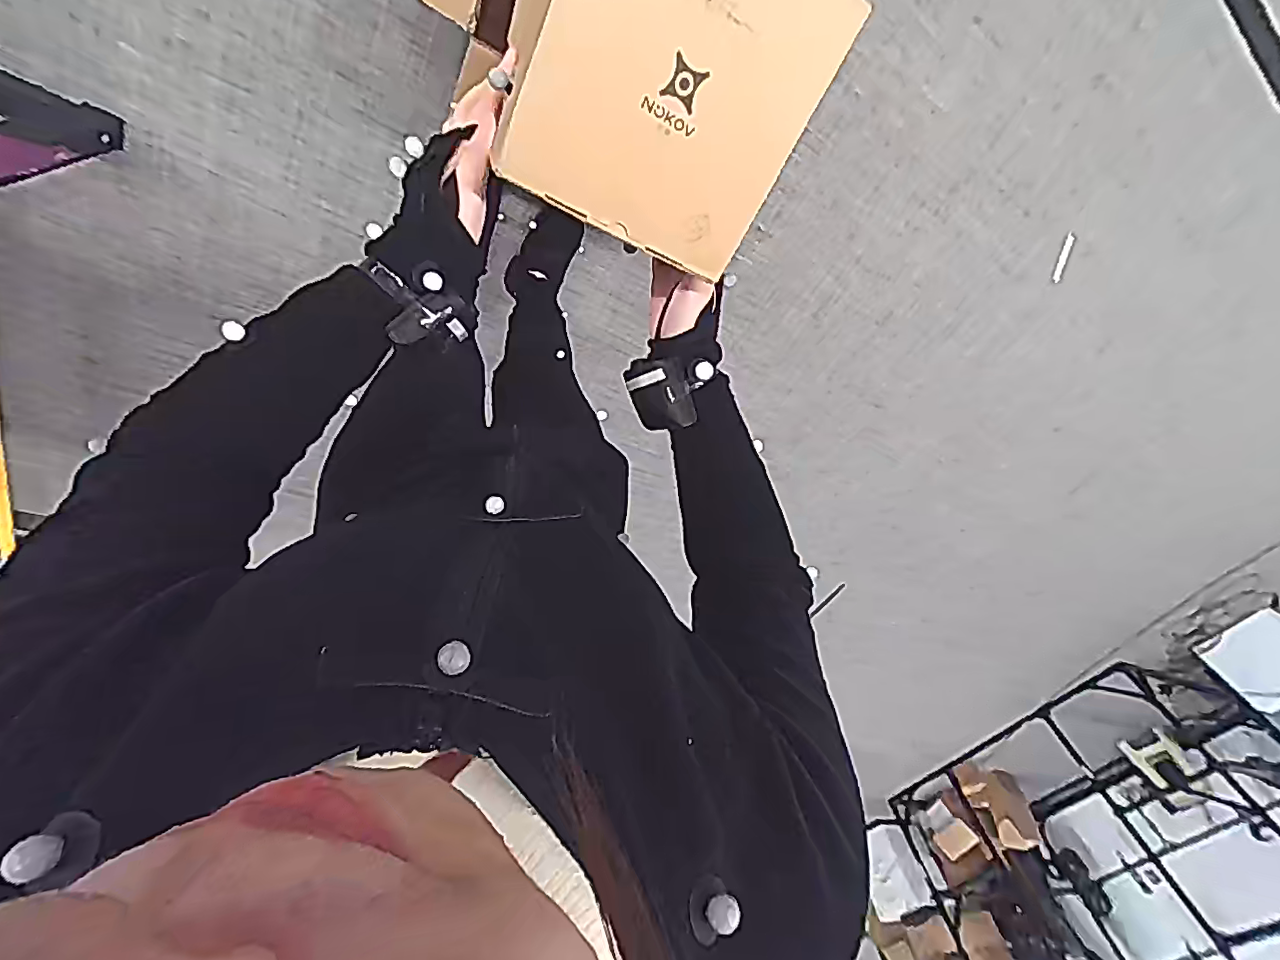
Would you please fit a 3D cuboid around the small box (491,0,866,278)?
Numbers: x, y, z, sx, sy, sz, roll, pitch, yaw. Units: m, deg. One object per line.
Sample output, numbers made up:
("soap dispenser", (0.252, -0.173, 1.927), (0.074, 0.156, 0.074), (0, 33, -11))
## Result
("small box", (0.005, -0.277, 0.374), (0.168, 0.176, 0.179), (16, 120, -27))
